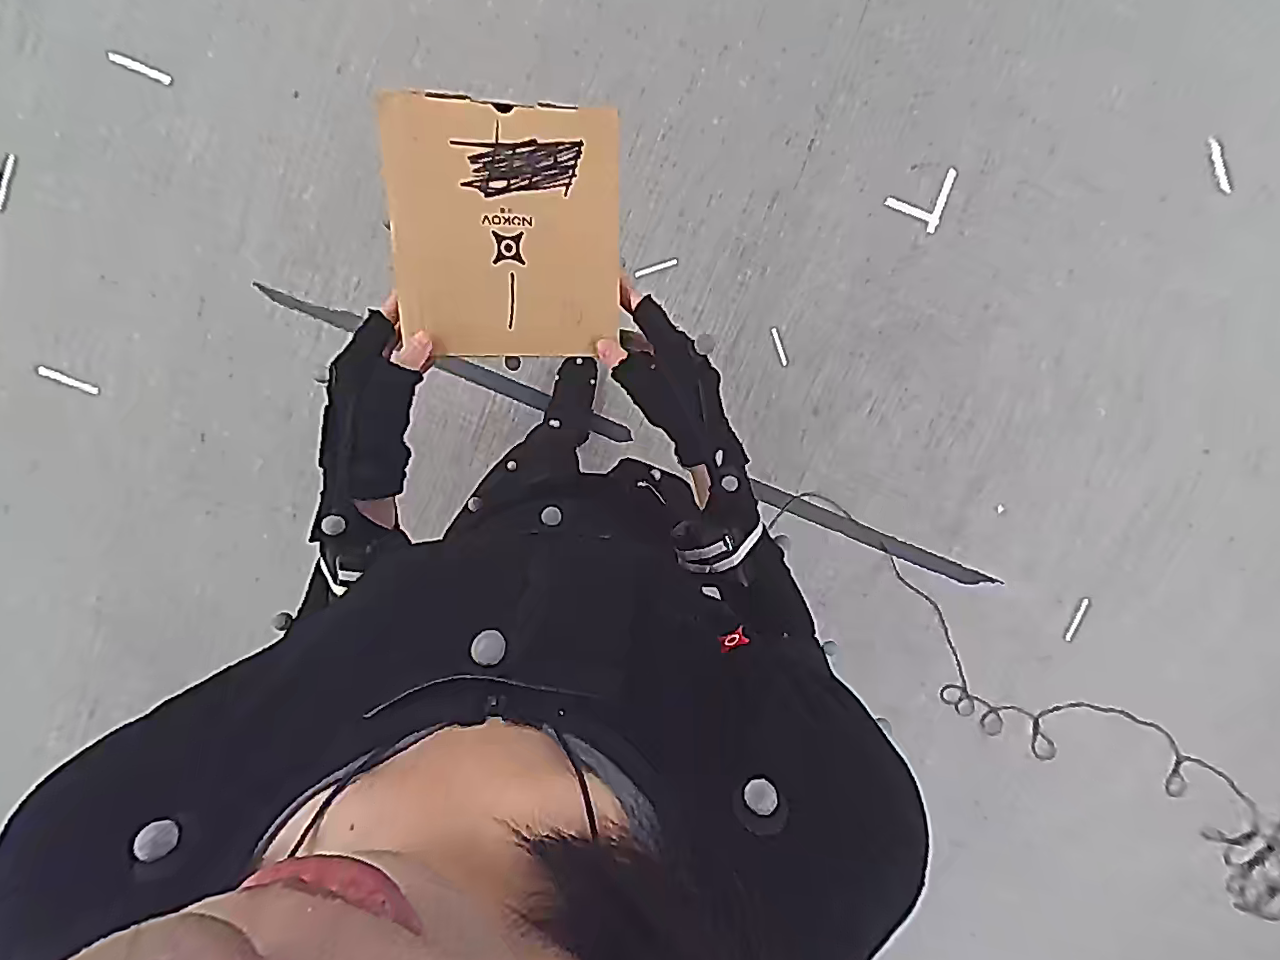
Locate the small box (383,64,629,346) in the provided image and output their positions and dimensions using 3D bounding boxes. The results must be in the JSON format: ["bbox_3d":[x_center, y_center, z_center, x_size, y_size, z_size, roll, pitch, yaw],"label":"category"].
[{"bbox_3d":[-0.106,-0.207,0.461,0.168,0.176,0.179,-1,106,-11],"label":"small box"}]
